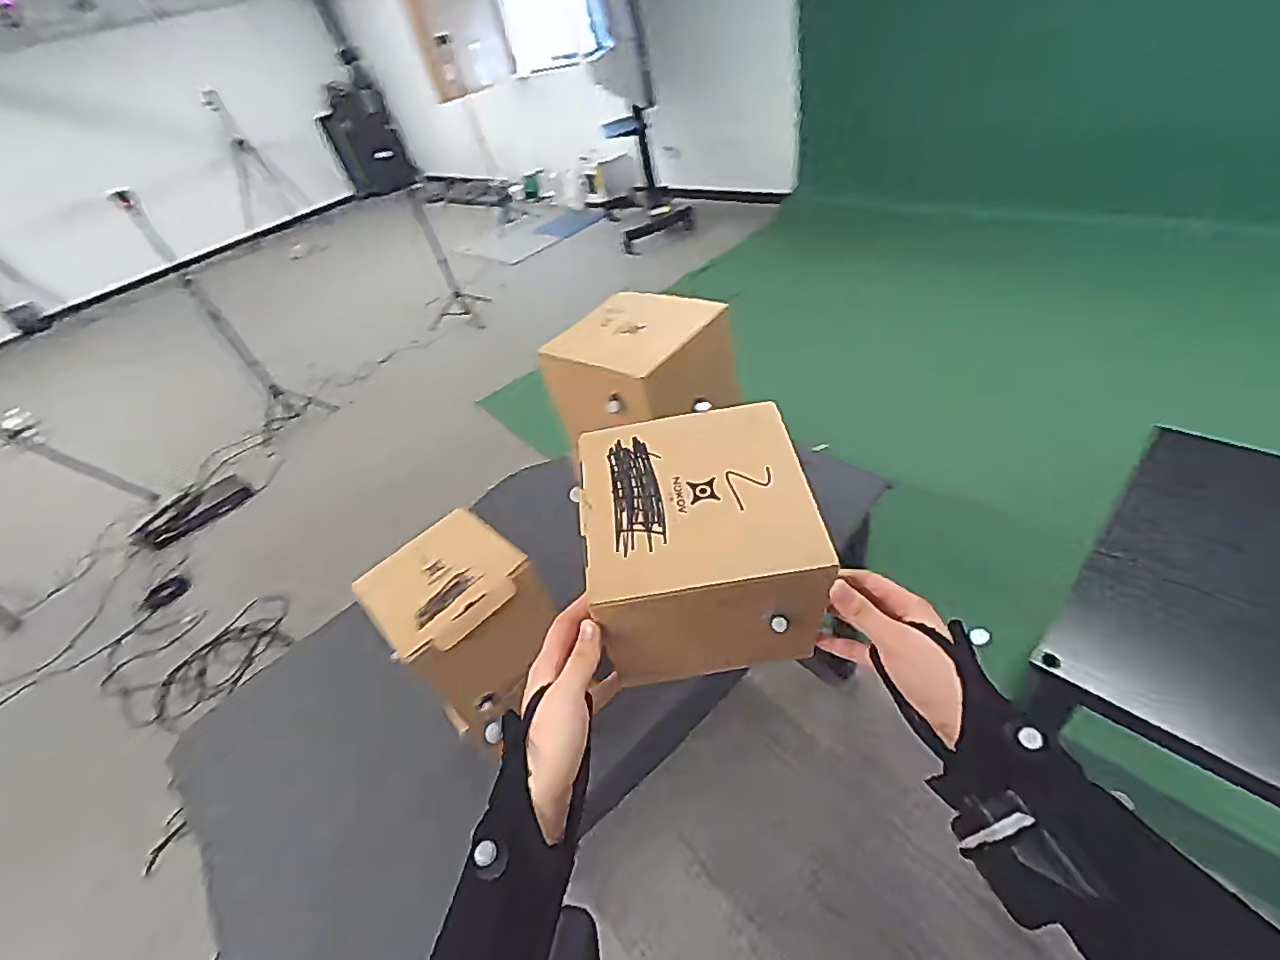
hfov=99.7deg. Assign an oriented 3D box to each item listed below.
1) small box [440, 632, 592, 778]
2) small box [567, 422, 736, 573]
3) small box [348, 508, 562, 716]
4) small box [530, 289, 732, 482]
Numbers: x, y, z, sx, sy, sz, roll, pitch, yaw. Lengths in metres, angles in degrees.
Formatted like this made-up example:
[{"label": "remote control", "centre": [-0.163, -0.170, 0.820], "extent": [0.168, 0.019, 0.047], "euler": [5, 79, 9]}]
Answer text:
[{"label": "small box", "centre": [-0.189, 0.294, 0.803], "extent": [0.179, 0.176, 0.168], "euler": [-39, 44, -22]}, {"label": "small box", "centre": [0.026, 0.000, 0.800], "extent": [0.179, 0.176, 0.168], "euler": [-40, 45, -22]}, {"label": "small box", "centre": [-0.229, 0.172, 0.698], "extent": [0.179, 0.176, 0.168], "euler": [25, 56, 41]}, {"label": "small box", "centre": [0.000, -0.120, 0.689], "extent": [0.179, 0.176, 0.168], "euler": [20, 54, 36]}]
